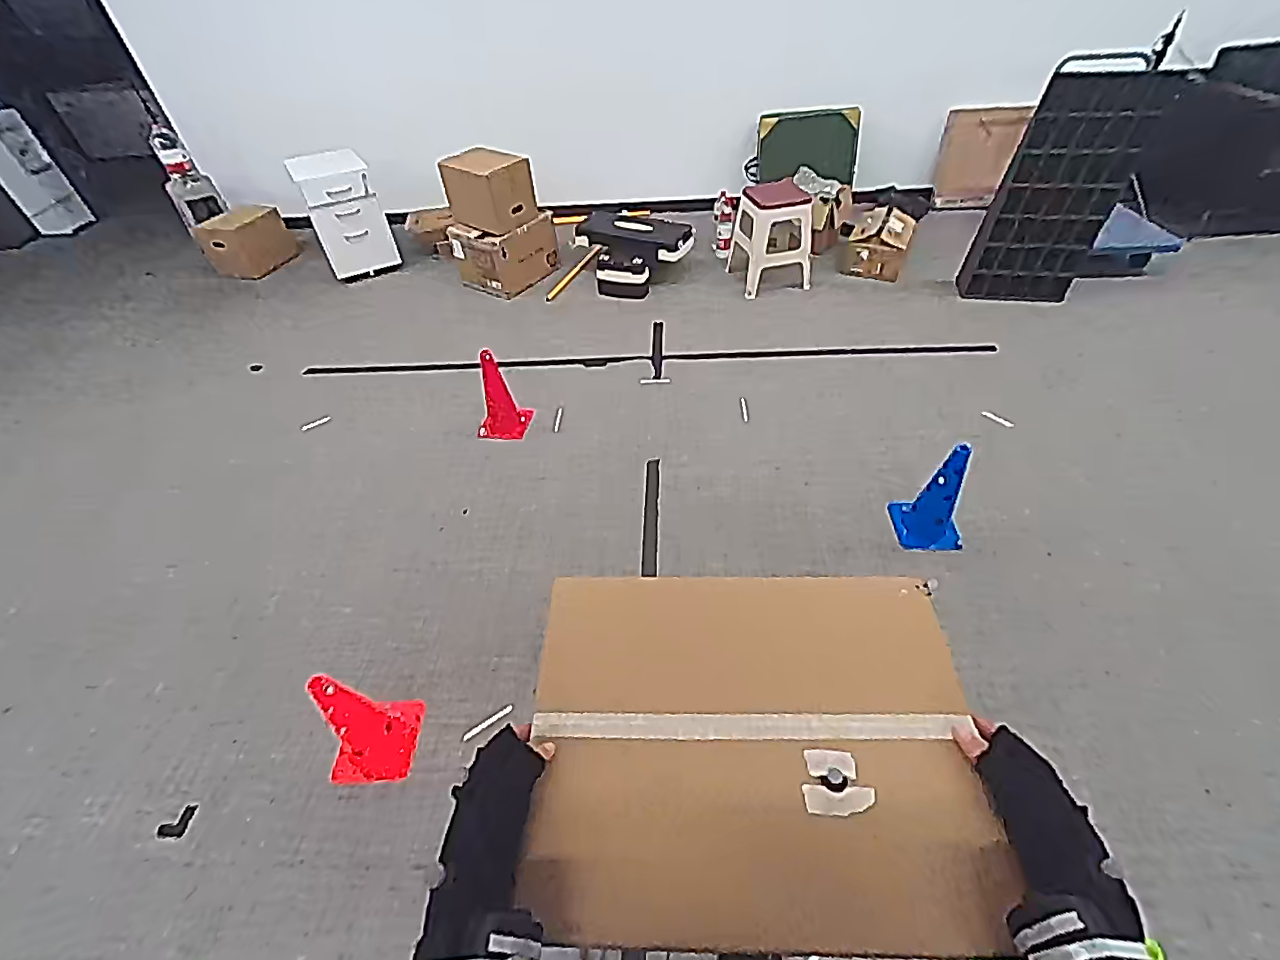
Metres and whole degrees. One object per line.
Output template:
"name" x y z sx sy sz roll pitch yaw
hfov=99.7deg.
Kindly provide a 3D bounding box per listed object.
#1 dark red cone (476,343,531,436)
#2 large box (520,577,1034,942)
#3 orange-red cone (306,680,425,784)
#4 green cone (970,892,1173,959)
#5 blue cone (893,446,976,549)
"dark red cone" -0.584 -0.371 2.187 0.201 0.394 0.202 4 46 7
"large box" 0.108 0.325 0.622 0.408 0.320 0.320 -1 50 3
"orange-red cone" -0.692 0.573 1.300 0.198 0.360 0.199 -3 47 2
"green cone" 0.777 0.833 0.930 0.202 0.368 0.200 -28 51 -23
"blue cone" 0.965 0.043 1.718 0.192 0.380 0.193 2 46 5
